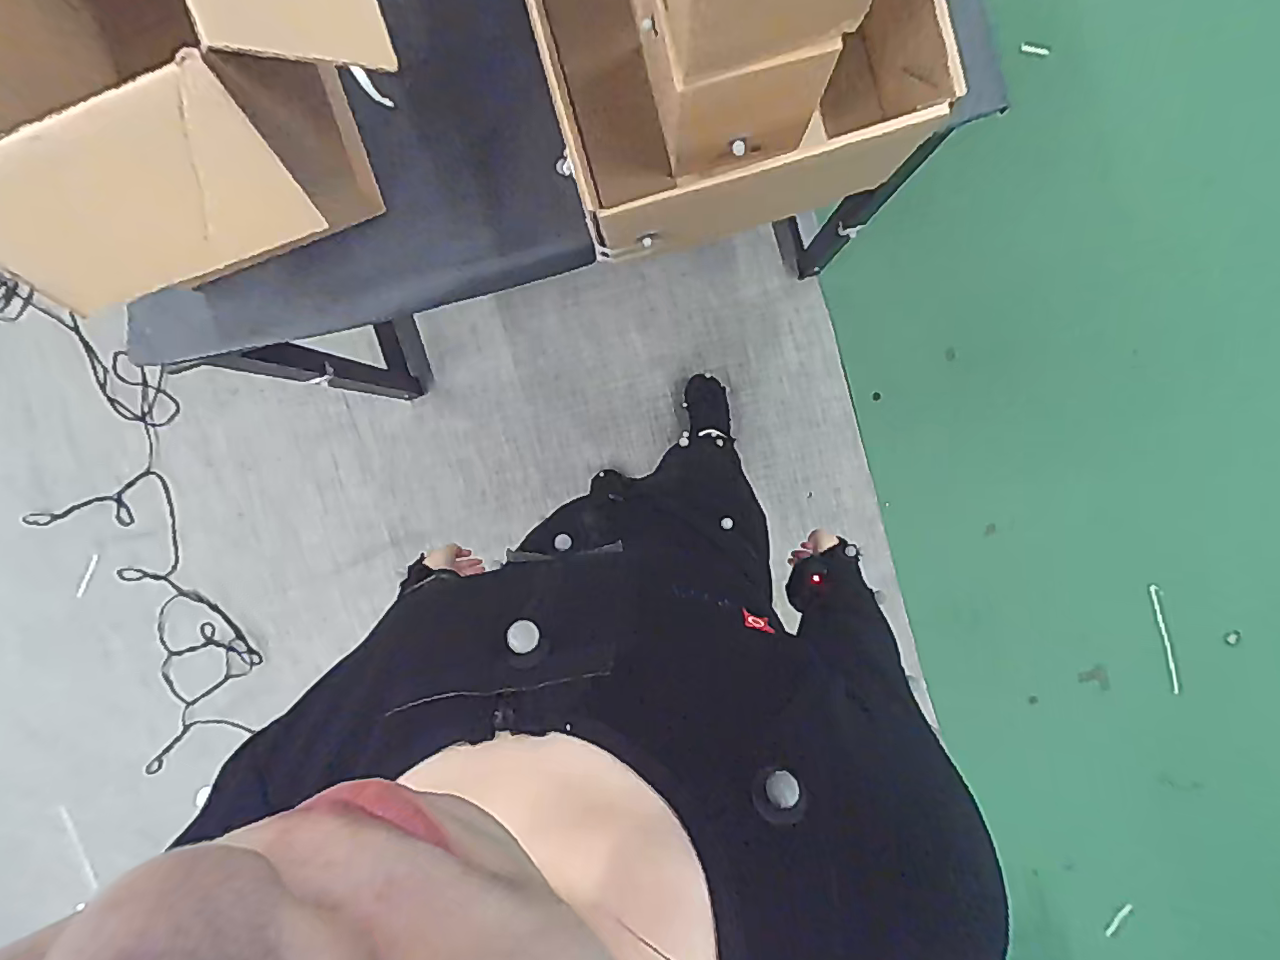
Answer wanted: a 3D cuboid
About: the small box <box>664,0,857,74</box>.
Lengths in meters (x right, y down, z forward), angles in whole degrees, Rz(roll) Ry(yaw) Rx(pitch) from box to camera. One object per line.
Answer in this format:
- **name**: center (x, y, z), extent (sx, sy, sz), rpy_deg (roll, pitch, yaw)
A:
- **small box**: center (0.098, -0.478, 0.435), extent (0.179, 0.176, 0.168), rpy_deg (-16, 93, 3)
